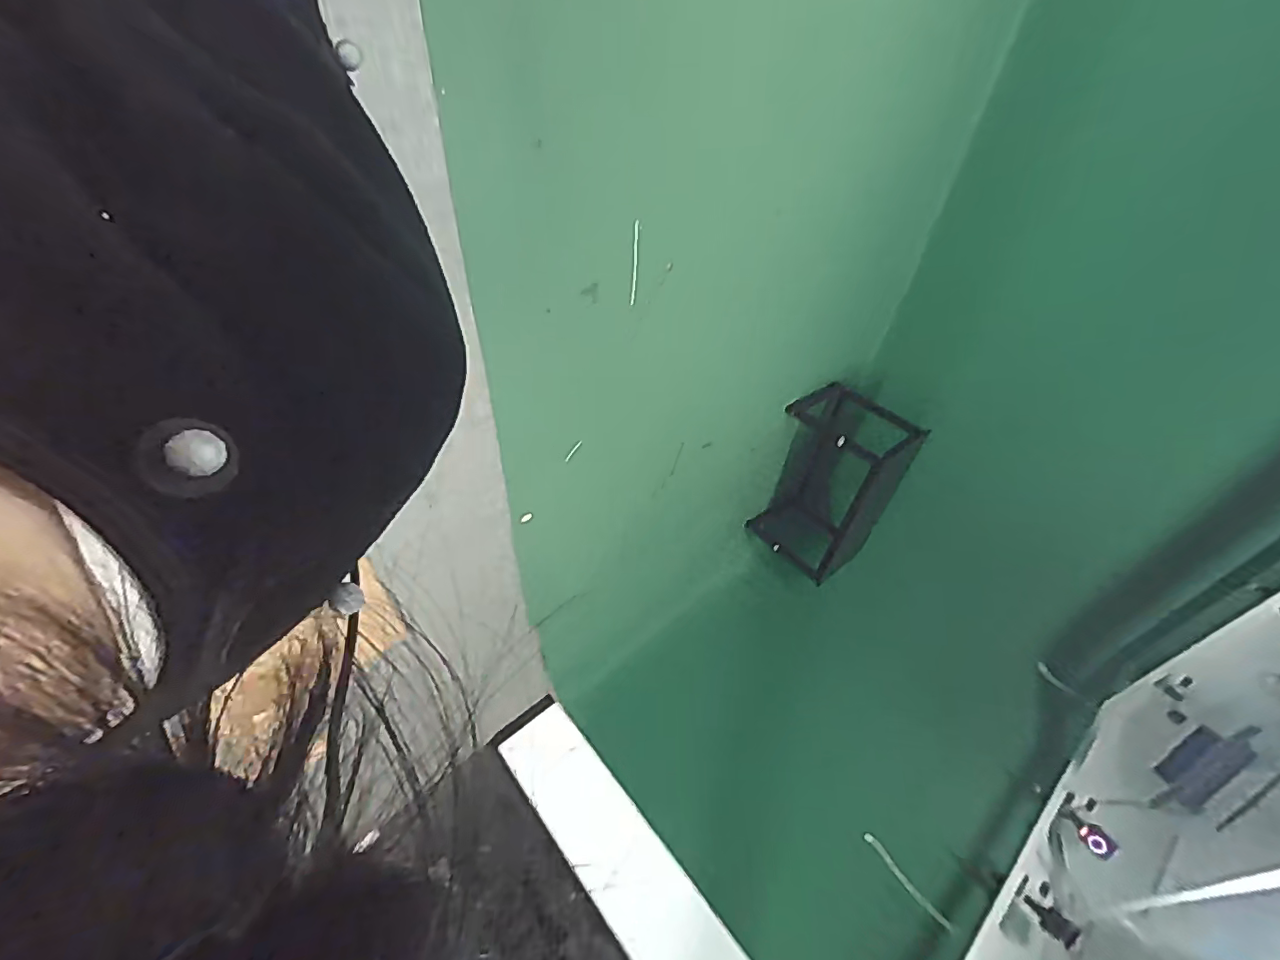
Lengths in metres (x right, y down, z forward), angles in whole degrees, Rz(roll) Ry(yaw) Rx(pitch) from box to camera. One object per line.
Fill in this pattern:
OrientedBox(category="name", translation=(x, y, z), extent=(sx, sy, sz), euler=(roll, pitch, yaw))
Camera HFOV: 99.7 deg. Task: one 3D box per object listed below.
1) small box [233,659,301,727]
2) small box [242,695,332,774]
OrientedBox(category="small box", translation=(-1.326, 0.774, 1.924), extent=(0.168, 0.176, 0.179), euler=(-15, 136, -44))
OrientedBox(category="small box", translation=(-1.213, 0.869, 1.853), extent=(0.179, 0.176, 0.168), euler=(-40, 150, -15))
